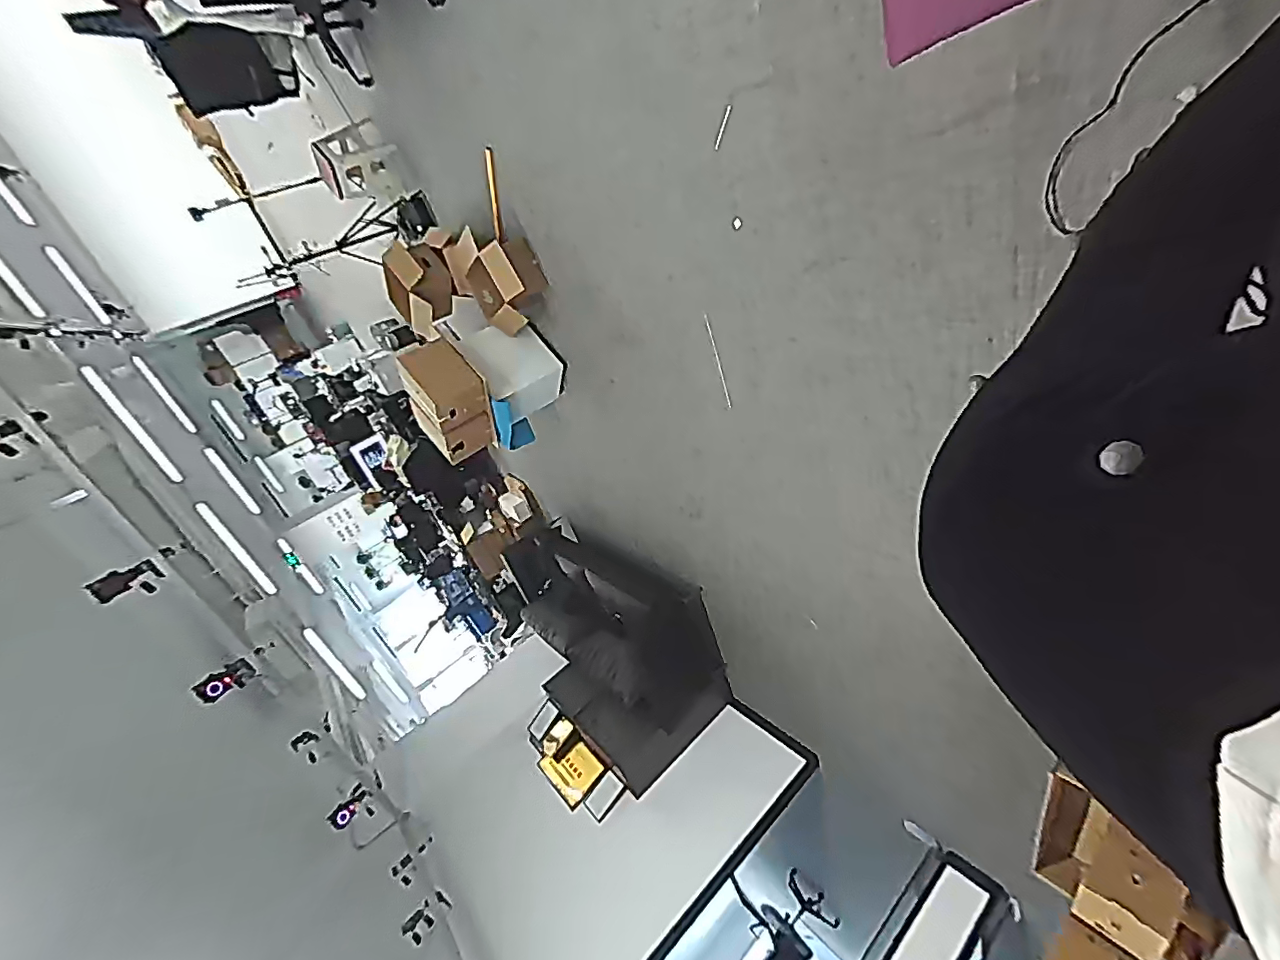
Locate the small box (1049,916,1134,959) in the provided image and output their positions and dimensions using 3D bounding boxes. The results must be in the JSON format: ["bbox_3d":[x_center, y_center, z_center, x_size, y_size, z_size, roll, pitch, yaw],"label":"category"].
[{"bbox_3d":[1.154,1.273,1.374,0.168,0.176,0.179,20,136,51],"label":"small box"}]

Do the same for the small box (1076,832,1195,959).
[{"bbox_3d":[1.215,1.018,1.328,0.168,0.176,0.179,24,141,49],"label":"small box"}]

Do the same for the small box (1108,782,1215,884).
[{"bbox_3d":[1.336,0.933,1.397,0.168,0.176,0.179,23,141,48],"label":"small box"}]
